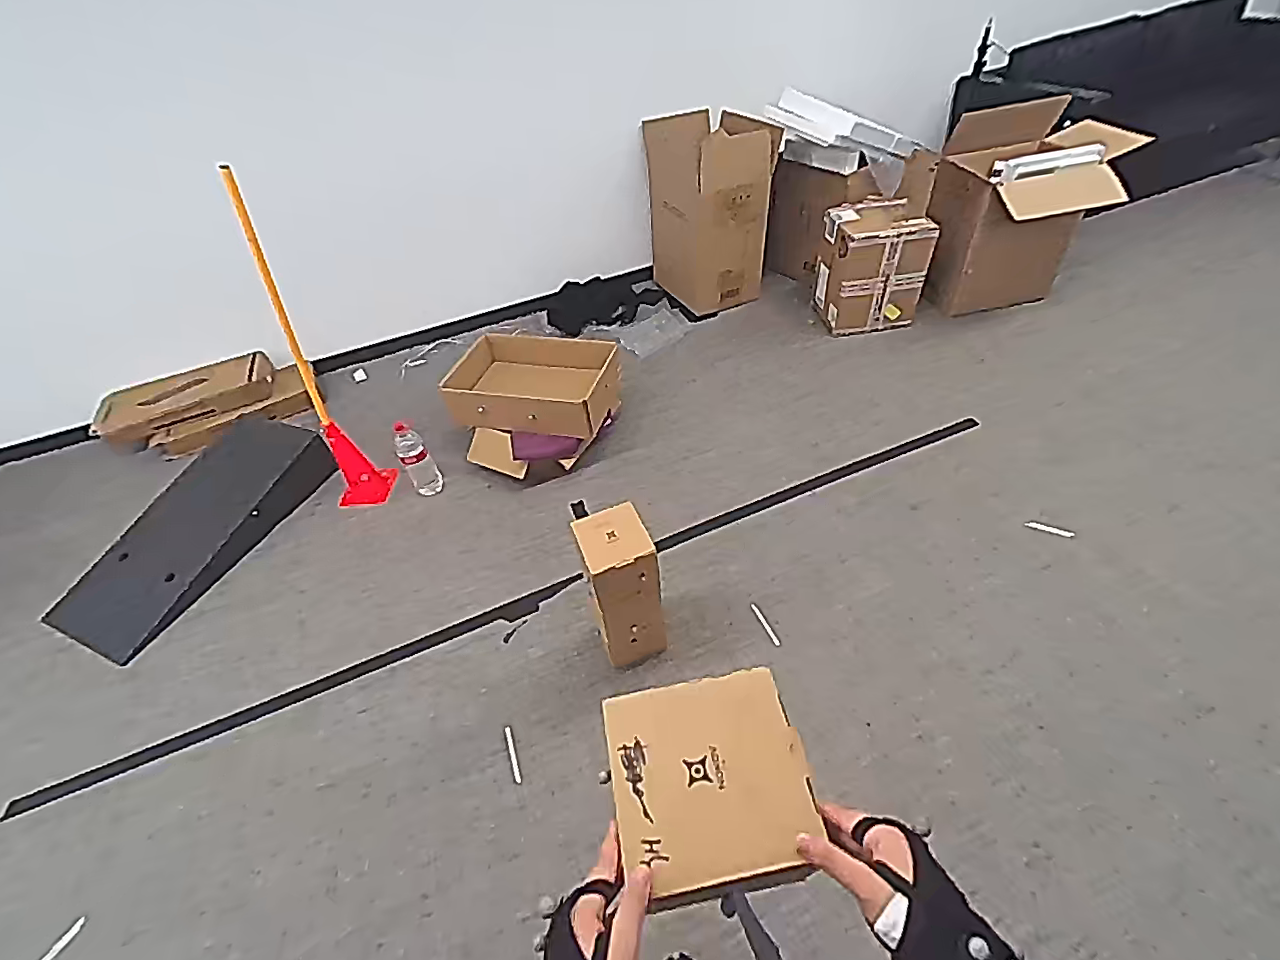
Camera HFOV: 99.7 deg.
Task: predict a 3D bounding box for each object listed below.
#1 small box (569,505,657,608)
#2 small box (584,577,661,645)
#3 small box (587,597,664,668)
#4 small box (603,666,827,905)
[{"bbox_3d":[-0.064,0.198,1.360,0.168,0.176,0.179,-19,46,-13],"label":"small box"},{"bbox_3d":[-0.050,0.314,1.474,0.168,0.176,0.179,-19,47,-11],"label":"small box"},{"bbox_3d":[-0.040,0.426,1.594,0.179,0.176,0.168,-19,47,-12],"label":"small box"},{"bbox_3d":[0.062,0.314,0.554,0.179,0.176,0.168,-9,48,-4],"label":"small box"}]
